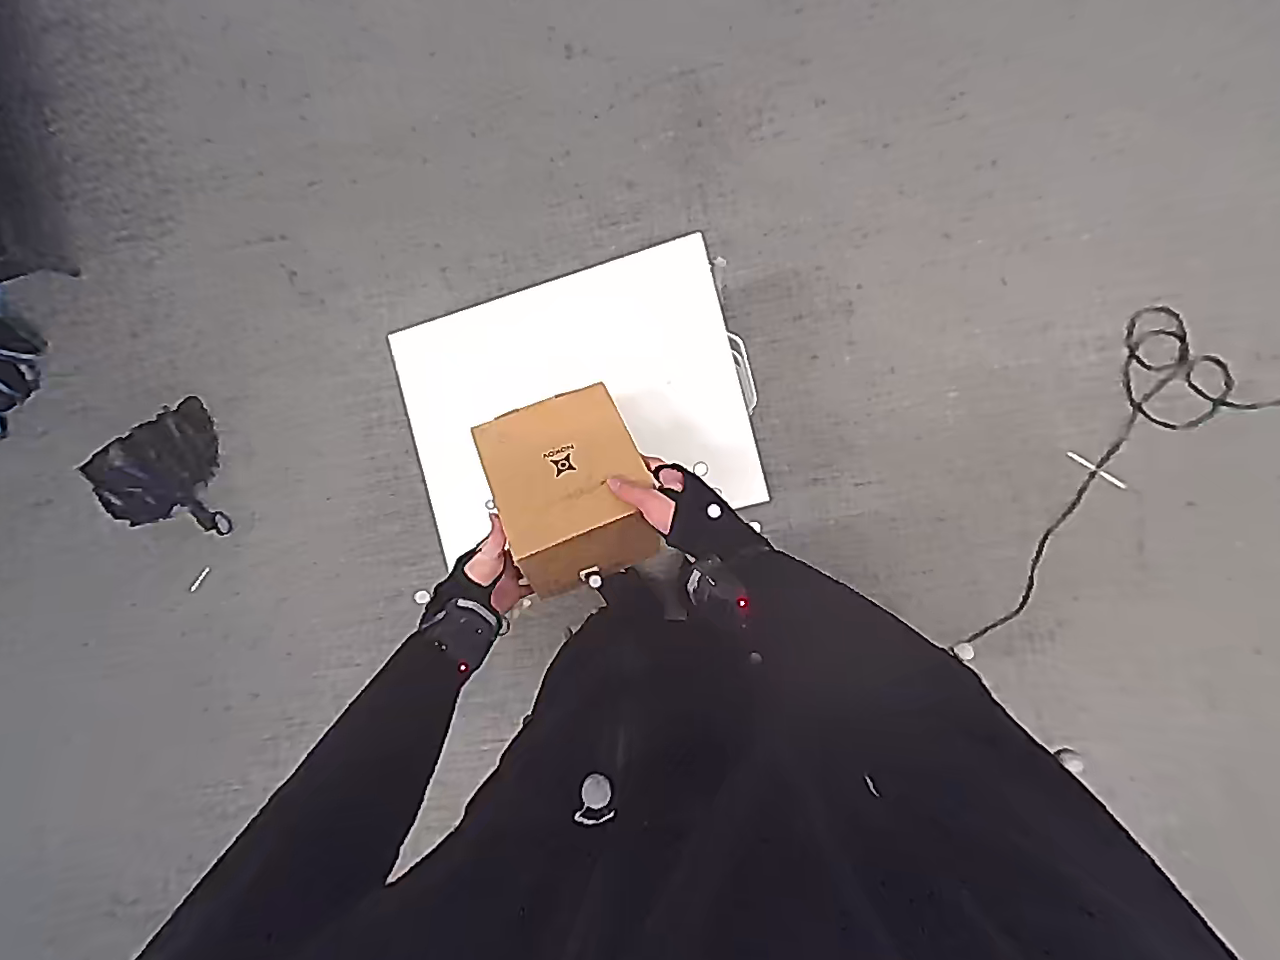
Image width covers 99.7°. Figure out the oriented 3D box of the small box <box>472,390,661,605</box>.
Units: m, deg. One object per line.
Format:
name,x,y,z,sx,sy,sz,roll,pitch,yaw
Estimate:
small box,-0.085,0.027,0.663,0.168,0.176,0.179,-22,64,-10
